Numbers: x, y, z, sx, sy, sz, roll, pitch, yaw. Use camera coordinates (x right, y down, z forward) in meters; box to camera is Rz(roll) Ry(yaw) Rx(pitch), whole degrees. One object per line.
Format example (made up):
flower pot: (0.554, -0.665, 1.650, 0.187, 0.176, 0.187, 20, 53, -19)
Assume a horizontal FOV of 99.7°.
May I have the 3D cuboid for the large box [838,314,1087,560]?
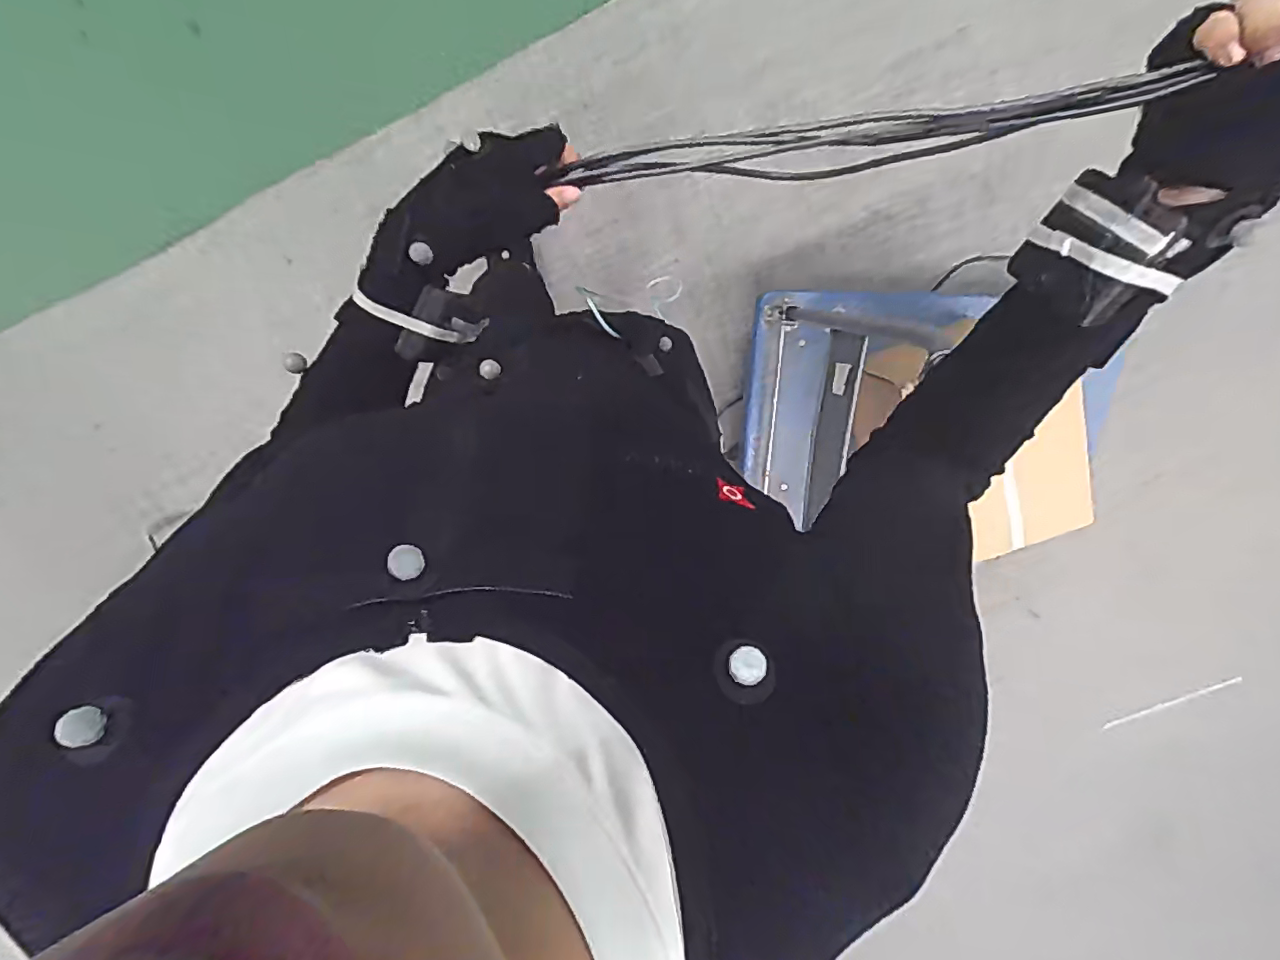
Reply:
large box: (0.672, -0.107, 1.167, 0.320, 0.320, 0.408, -20, 108, 5)
